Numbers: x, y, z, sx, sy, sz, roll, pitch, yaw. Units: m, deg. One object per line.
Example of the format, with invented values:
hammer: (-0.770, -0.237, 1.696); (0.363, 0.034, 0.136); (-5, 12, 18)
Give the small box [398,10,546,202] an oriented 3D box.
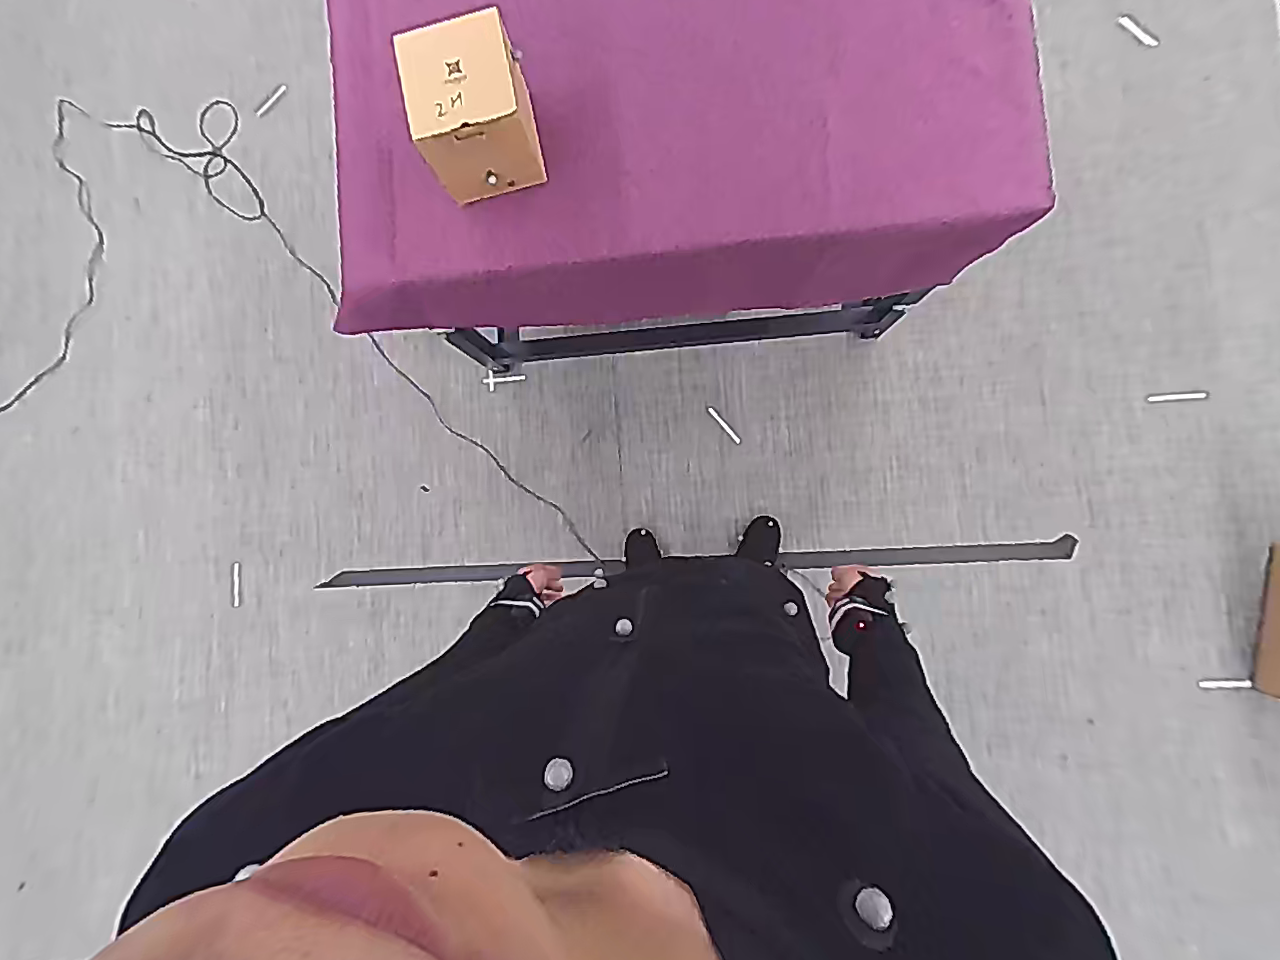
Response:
small box: (-0.265, -0.597, 0.884); (0.168, 0.176, 0.179); (-12, 86, 4)
